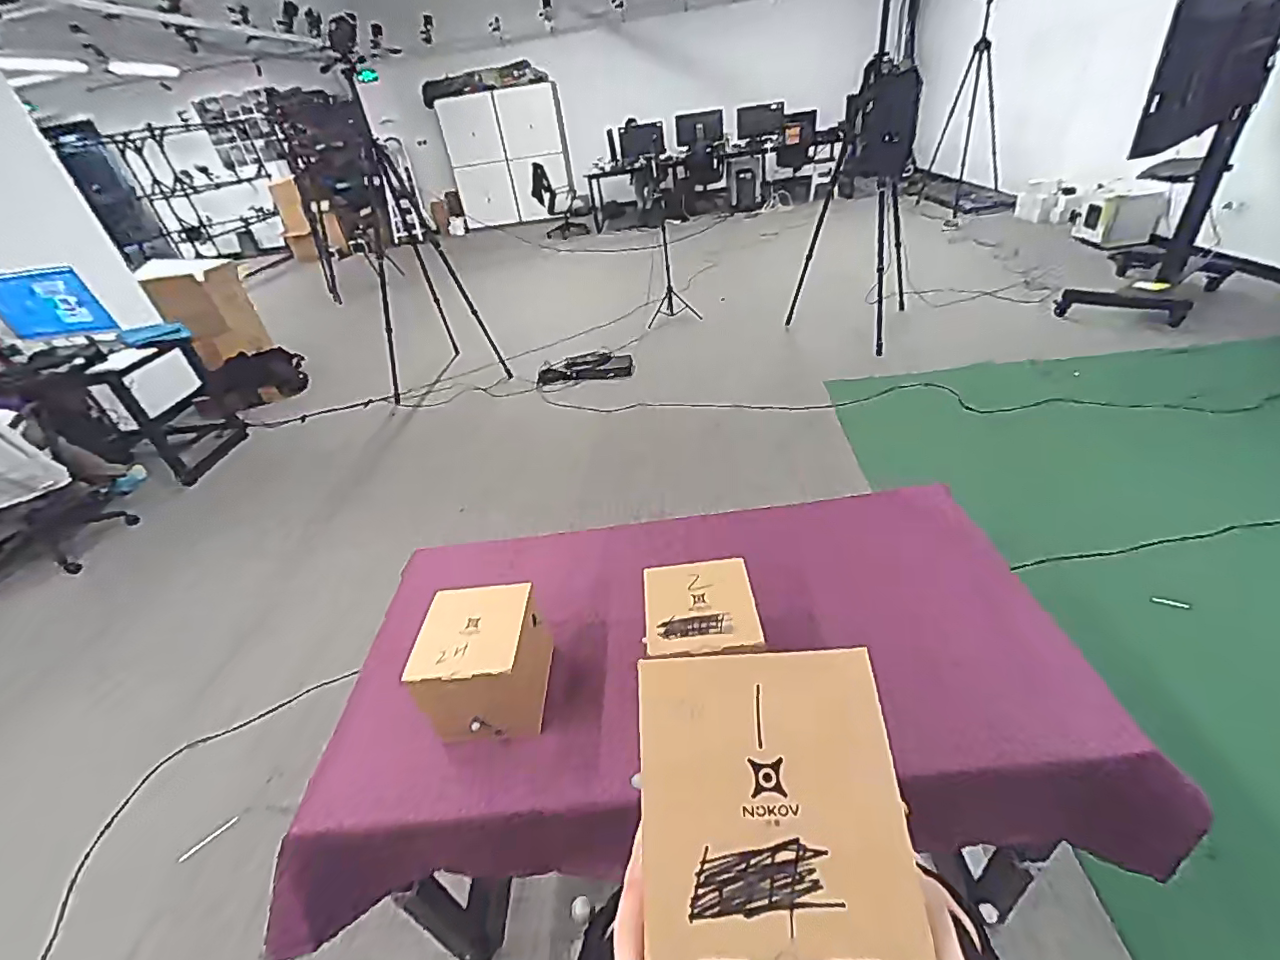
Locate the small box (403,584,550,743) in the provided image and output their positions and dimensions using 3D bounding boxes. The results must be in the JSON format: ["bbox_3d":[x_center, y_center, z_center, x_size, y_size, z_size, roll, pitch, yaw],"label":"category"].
[{"bbox_3d":[-0.249,0.296,0.878,0.168,0.176,0.179,-7,35,4],"label":"small box"}]

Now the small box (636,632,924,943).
[{"bbox_3d":[0.091,0.228,0.424,0.168,0.176,0.179,-5,61,5],"label":"small box"}]
